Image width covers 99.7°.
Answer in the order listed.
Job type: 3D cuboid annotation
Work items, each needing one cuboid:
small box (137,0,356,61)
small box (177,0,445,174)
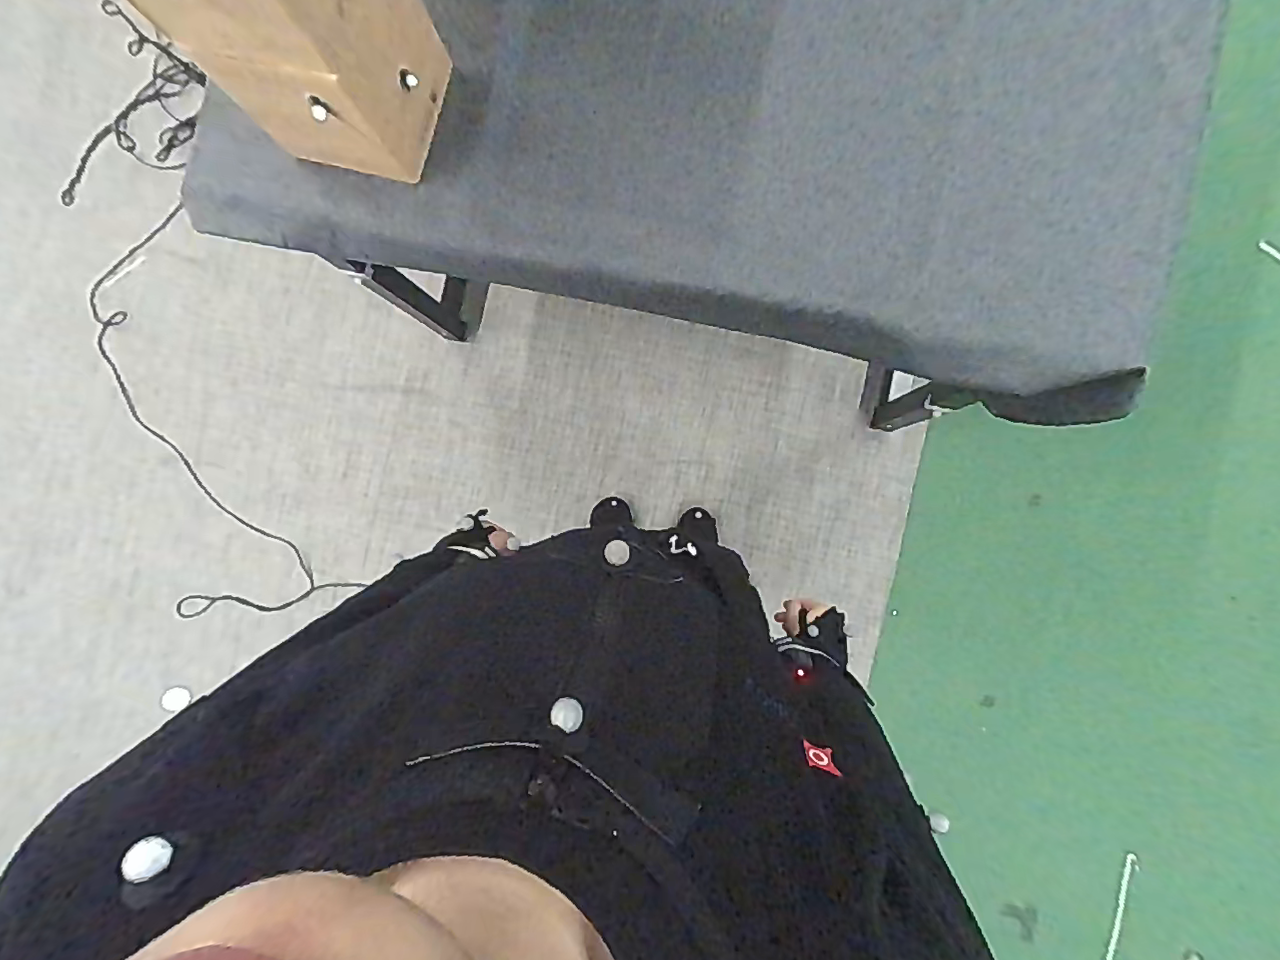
[{"bbox_3d":[-0.360,-0.492,0.444,0.179,0.176,0.168,11,88,5],"label":"small box"},{"bbox_3d":[-0.347,-0.479,0.607,0.179,0.176,0.168,15,87,4],"label":"small box"}]
